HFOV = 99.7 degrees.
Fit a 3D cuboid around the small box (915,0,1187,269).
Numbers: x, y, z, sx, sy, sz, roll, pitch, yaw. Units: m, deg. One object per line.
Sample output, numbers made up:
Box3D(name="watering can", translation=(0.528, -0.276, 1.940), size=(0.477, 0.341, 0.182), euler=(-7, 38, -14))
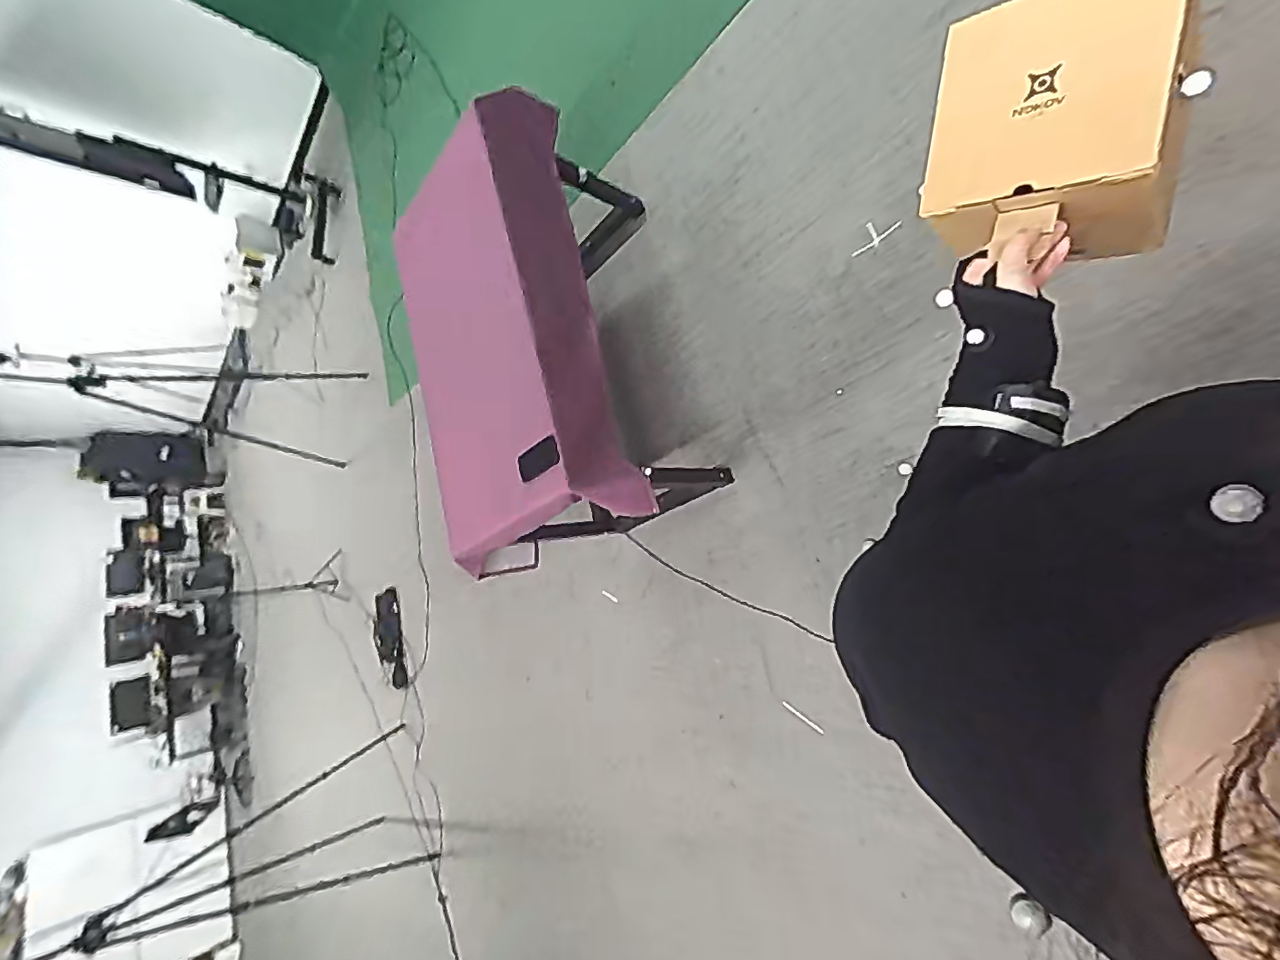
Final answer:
Box3D(name="small box", translation=(0.386, -0.322, 0.511), size=(0.168, 0.176, 0.179), euler=(11, 96, 44))
